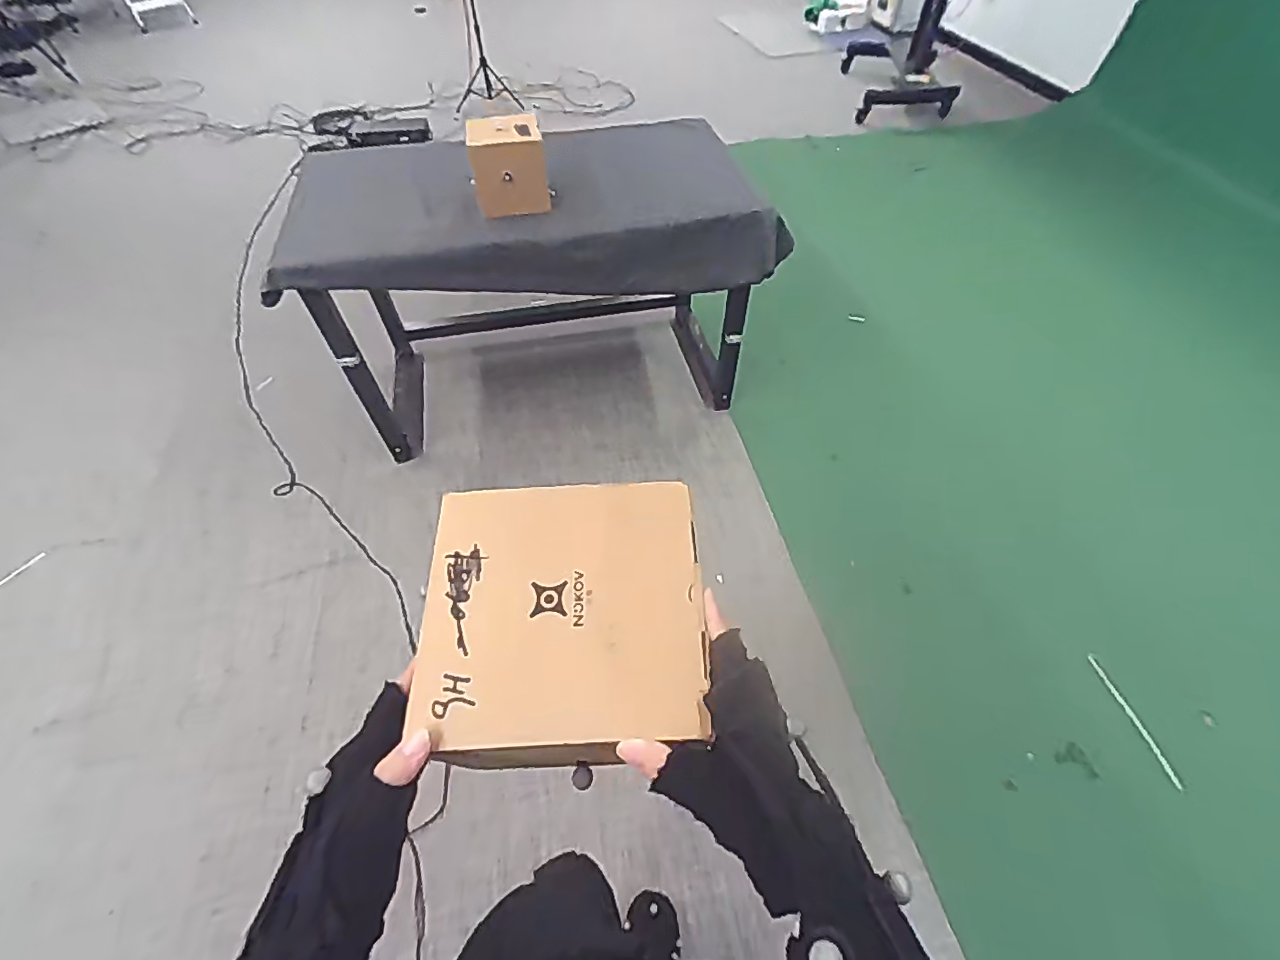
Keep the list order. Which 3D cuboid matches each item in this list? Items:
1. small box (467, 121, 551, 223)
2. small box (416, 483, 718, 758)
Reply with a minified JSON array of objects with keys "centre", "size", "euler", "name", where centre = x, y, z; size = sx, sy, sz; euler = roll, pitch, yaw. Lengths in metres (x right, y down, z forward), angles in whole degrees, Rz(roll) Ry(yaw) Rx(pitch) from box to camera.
[{"centre":[-0.323,-0.770,1.356],"size":[0.179,0.176,0.168],"euler":[-11,53,-10],"name":"small box"},{"centre":[-0.045,0.115,0.418],"size":[0.179,0.176,0.168],"euler":[-2,58,-1],"name":"small box"}]
